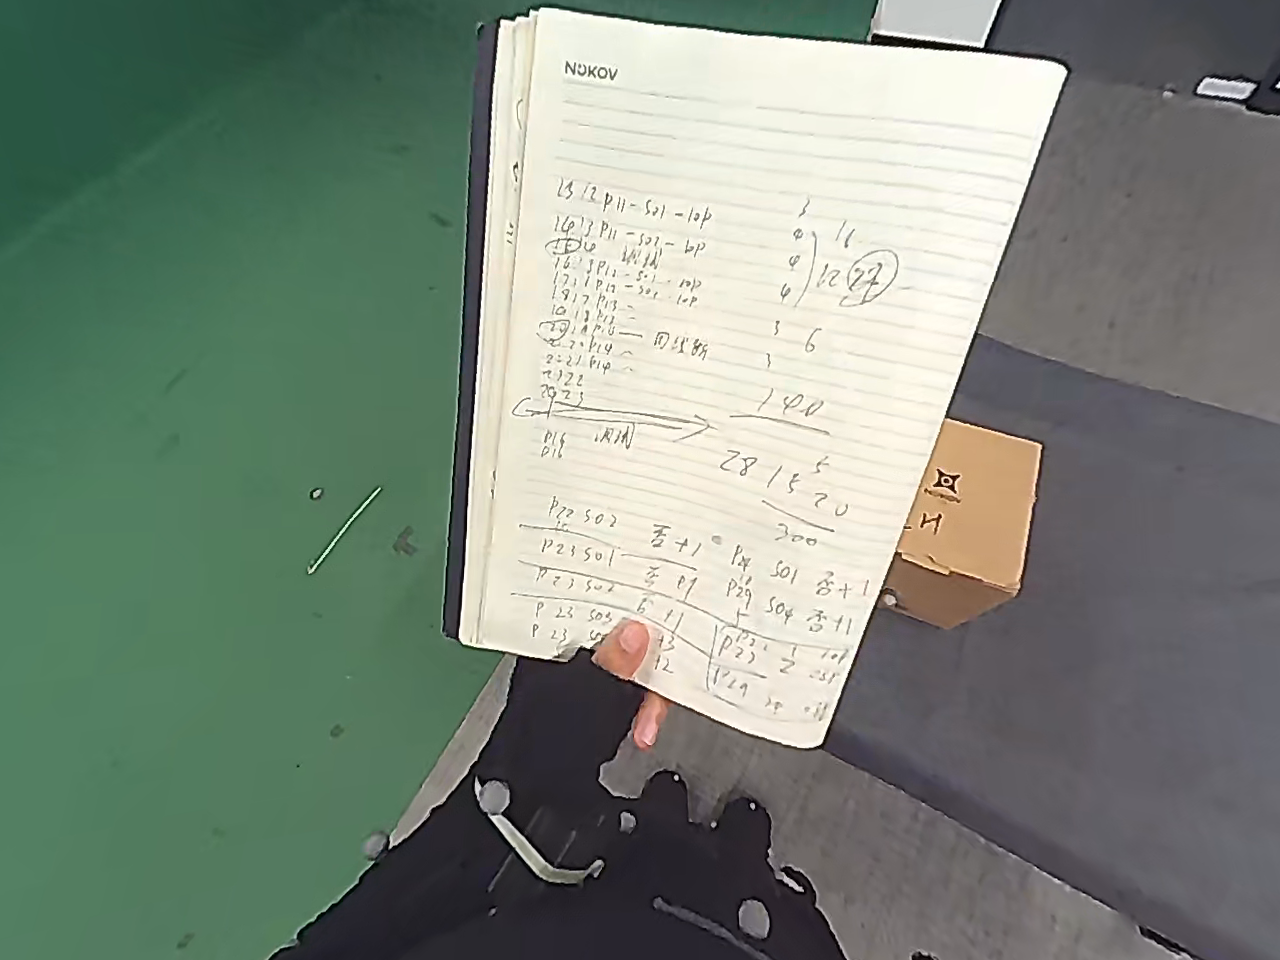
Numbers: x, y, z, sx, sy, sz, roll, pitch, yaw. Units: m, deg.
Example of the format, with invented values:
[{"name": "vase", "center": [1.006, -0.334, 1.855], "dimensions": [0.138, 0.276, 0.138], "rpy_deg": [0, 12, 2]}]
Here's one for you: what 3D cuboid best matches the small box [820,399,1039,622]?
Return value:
[{"name": "small box", "center": [0.323, 0.041, 0.631], "dimensions": [0.168, 0.176, 0.179], "rpy_deg": [19, 67, 16]}]
